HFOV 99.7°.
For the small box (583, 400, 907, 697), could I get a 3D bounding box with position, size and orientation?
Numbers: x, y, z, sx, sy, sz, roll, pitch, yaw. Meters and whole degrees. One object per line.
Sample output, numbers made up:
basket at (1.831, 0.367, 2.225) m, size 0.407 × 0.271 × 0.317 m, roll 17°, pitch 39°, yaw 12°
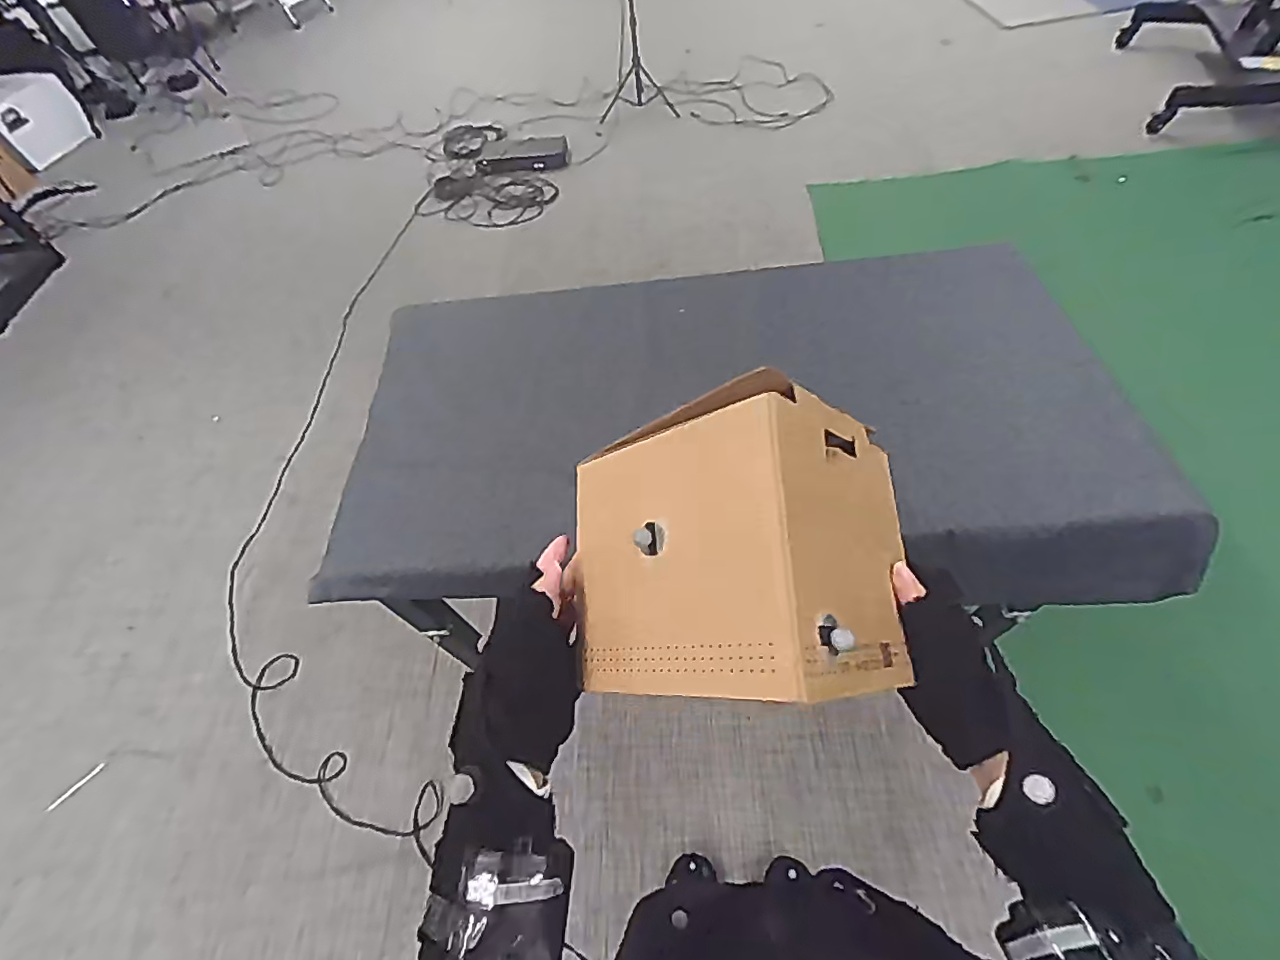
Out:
small box at (0.074, 0.065, 0.404) m, size 0.179 × 0.168 × 0.176 m, roll -19°, pitch 65°, yaw 42°
